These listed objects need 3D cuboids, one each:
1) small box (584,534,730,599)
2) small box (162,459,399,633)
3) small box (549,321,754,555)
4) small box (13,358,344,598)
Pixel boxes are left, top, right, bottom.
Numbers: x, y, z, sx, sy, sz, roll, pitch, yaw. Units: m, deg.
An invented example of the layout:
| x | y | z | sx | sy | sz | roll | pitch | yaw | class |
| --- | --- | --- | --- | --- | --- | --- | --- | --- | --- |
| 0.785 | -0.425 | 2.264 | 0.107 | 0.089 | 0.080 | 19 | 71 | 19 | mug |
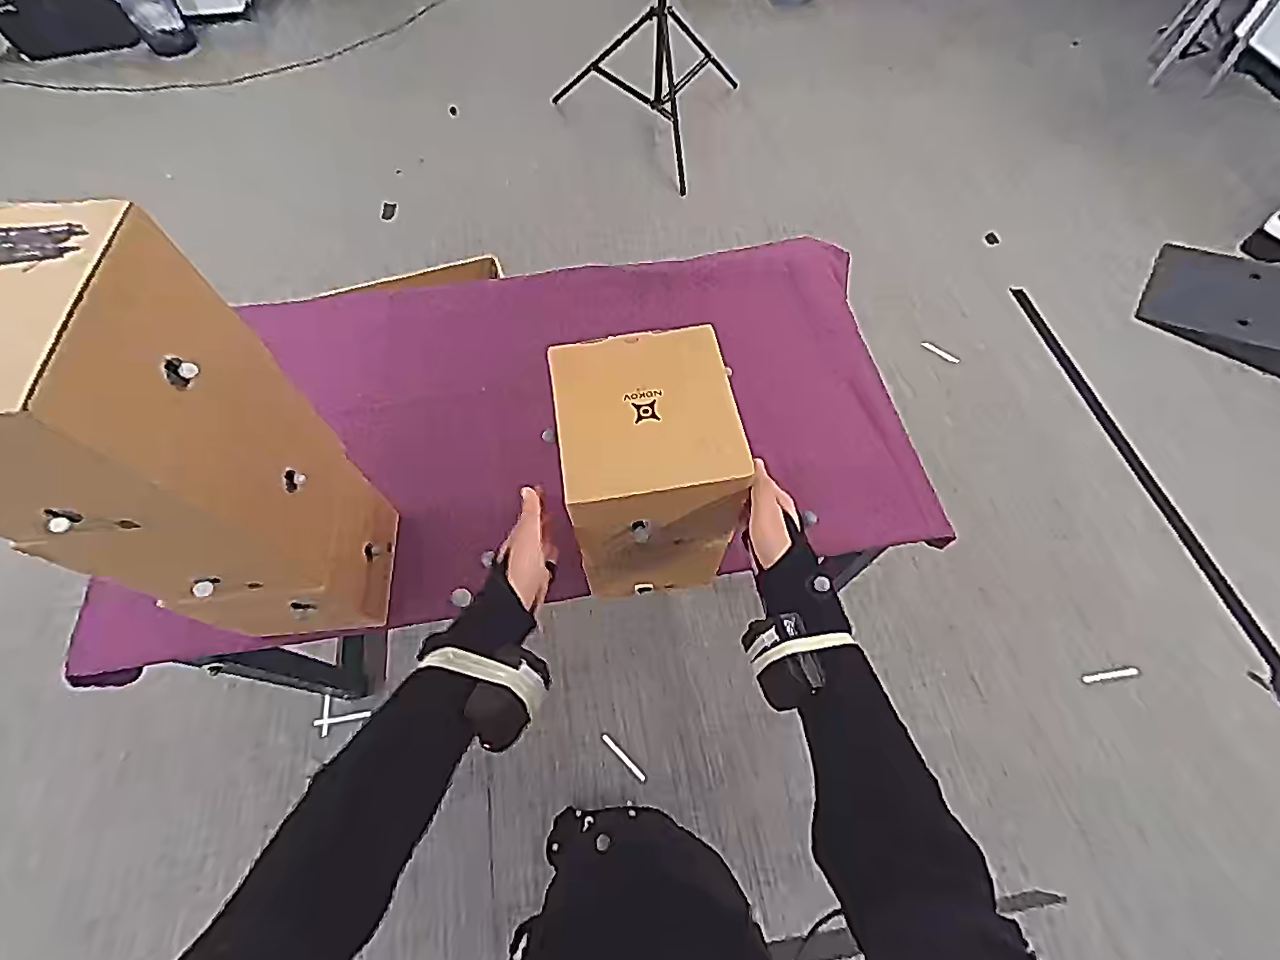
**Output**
| x | y | z | sx | sy | sz | roll | pitch | yaw | class |
| --- | --- | --- | --- | --- | --- | --- | --- | --- | --- |
| 0.009 | 0.040 | 0.707 | 0.168 | 0.176 | 0.179 | -9 | 64 | -3 | small box |
| -0.424 | 0.088 | 0.678 | 0.179 | 0.176 | 0.168 | -5 | 62 | -3 | small box |
| 0.008 | -0.032 | 0.561 | 0.168 | 0.176 | 0.179 | -9 | 62 | -3 | small box |
| -0.421 | 0.004 | 0.537 | 0.168 | 0.176 | 0.179 | -5 | 64 | -3 | small box |
